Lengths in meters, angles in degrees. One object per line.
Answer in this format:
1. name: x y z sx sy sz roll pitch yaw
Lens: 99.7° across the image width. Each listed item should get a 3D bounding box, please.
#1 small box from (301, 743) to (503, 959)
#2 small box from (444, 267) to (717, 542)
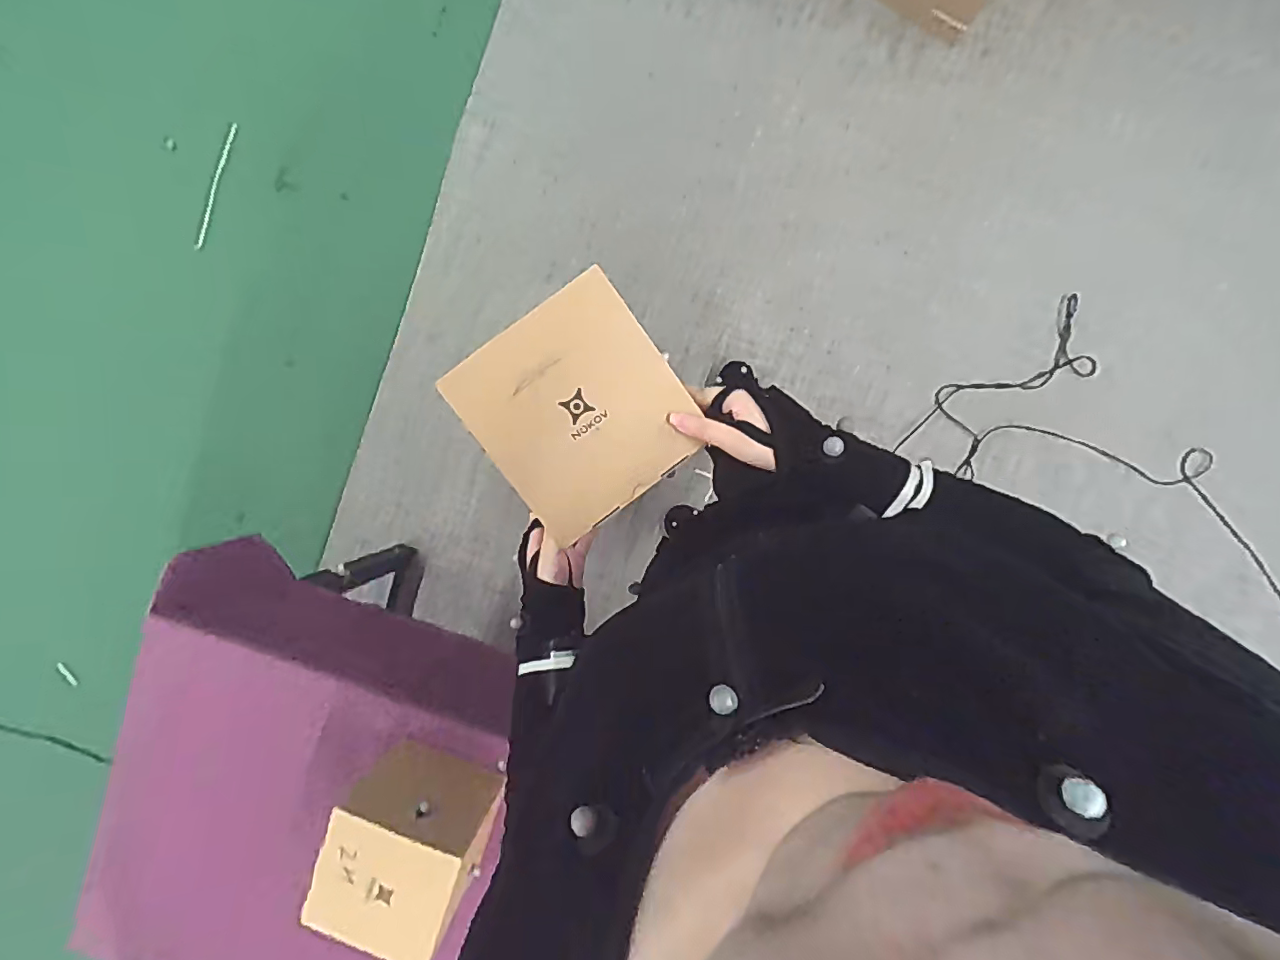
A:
1. small box: -0.312 0.500 0.745 0.179 0.176 0.168 20 95 4
2. small box: -0.053 -0.069 0.528 0.168 0.176 0.179 -35 98 -2
